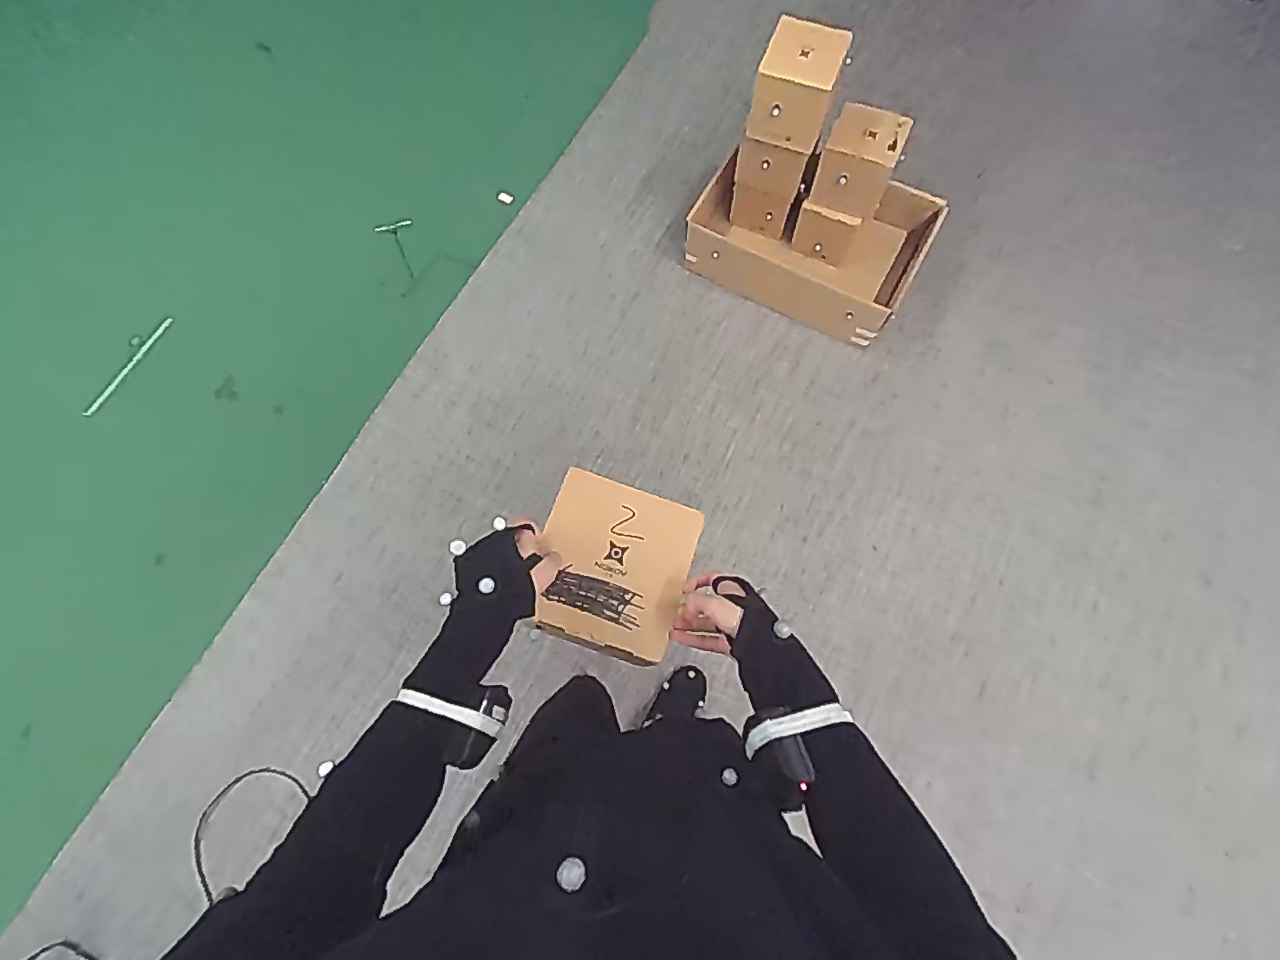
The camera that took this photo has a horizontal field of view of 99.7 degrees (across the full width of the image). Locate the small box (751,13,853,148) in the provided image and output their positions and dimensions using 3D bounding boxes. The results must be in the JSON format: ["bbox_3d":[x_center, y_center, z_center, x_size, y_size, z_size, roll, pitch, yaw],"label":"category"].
[{"bbox_3d":[0.363,-0.912,1.247,0.168,0.176,0.179,21,77,8],"label":"small box"}]

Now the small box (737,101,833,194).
[{"bbox_3d":[0.369,-0.884,1.408,0.179,0.176,0.168,24,78,10],"label":"small box"}]

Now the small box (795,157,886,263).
[{"bbox_3d":[0.558,-0.758,1.530,0.168,0.176,0.179,28,78,13],"label":"small box"}]
